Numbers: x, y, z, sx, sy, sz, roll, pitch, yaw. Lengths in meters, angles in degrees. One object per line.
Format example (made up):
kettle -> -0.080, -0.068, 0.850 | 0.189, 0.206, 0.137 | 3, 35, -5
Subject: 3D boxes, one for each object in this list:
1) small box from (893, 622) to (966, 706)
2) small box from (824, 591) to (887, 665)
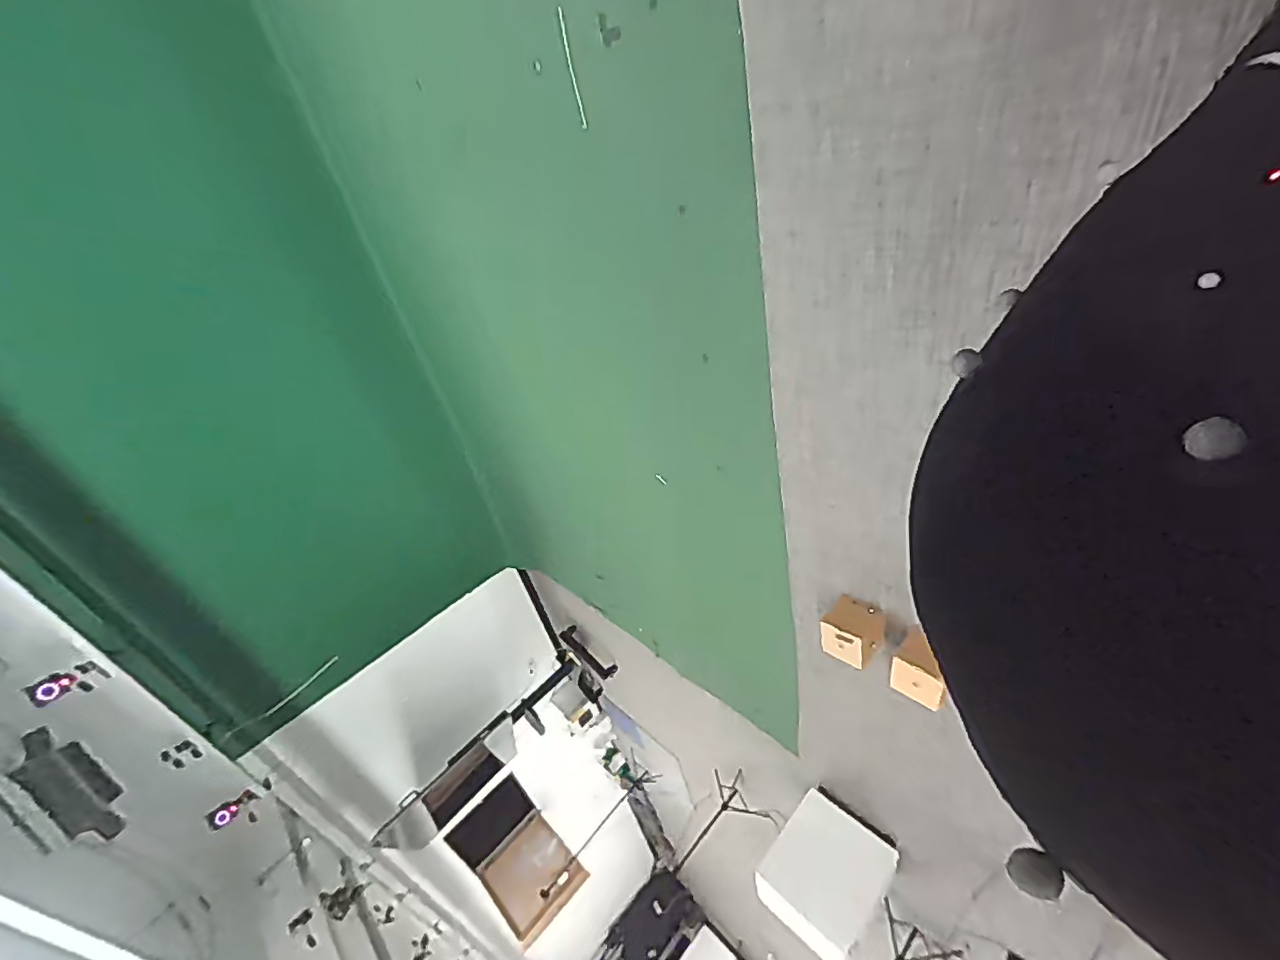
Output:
small box -> 1.002, 0.634, 1.873 | 0.168, 0.176, 0.179 | 25, 139, 42
small box -> 0.822, 0.557, 2.057 | 0.168, 0.176, 0.179 | 22, 138, 45
